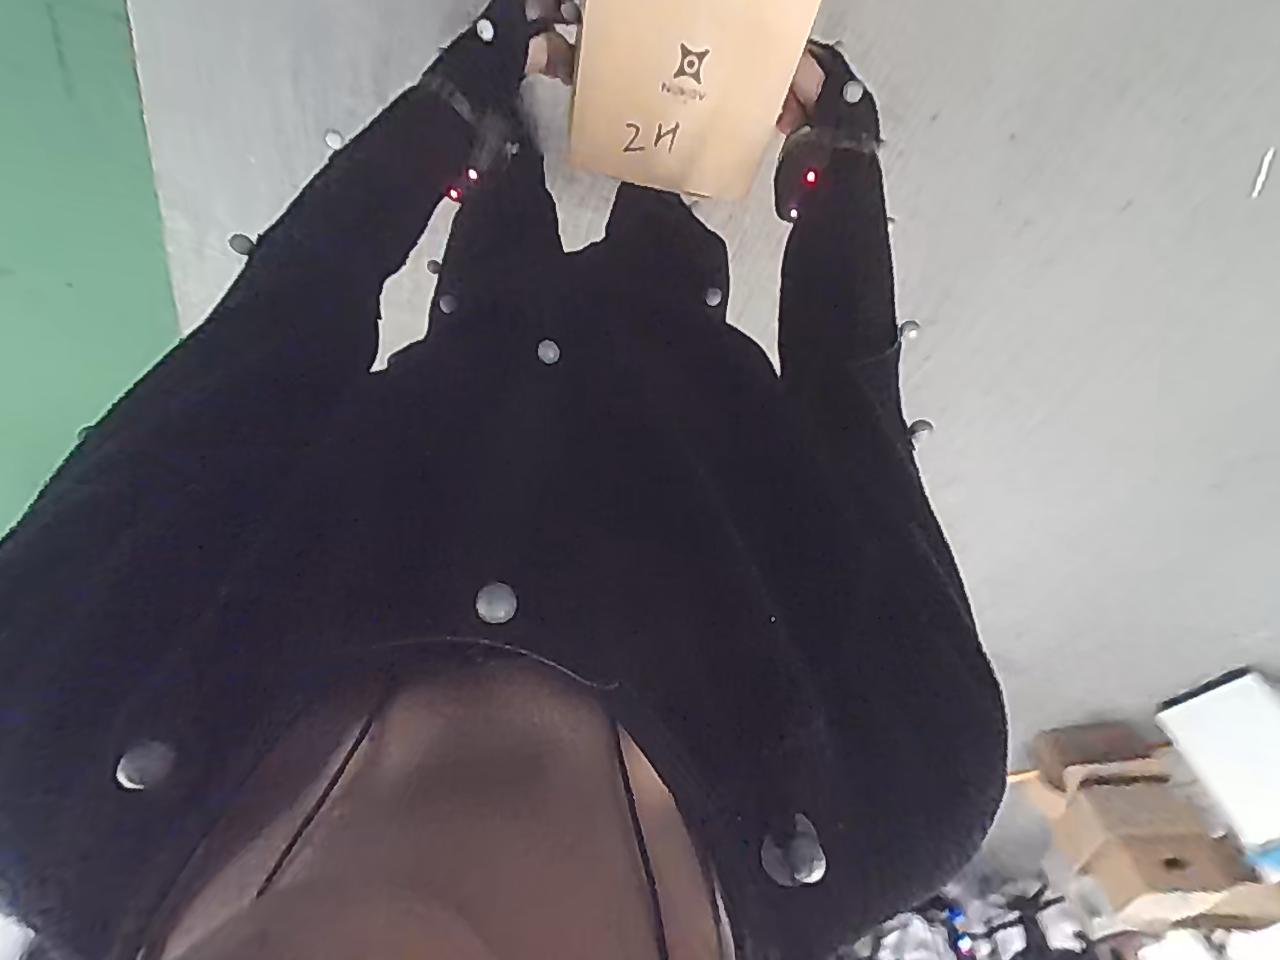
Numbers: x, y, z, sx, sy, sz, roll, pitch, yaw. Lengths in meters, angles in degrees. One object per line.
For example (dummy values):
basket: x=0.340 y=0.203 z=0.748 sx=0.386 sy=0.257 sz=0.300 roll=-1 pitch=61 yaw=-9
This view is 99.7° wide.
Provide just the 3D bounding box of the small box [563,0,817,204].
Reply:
small box: x=0.027 y=-0.374 z=0.458 sx=0.168 sy=0.176 sz=0.179 roll=5 pitch=143 yaw=-12
